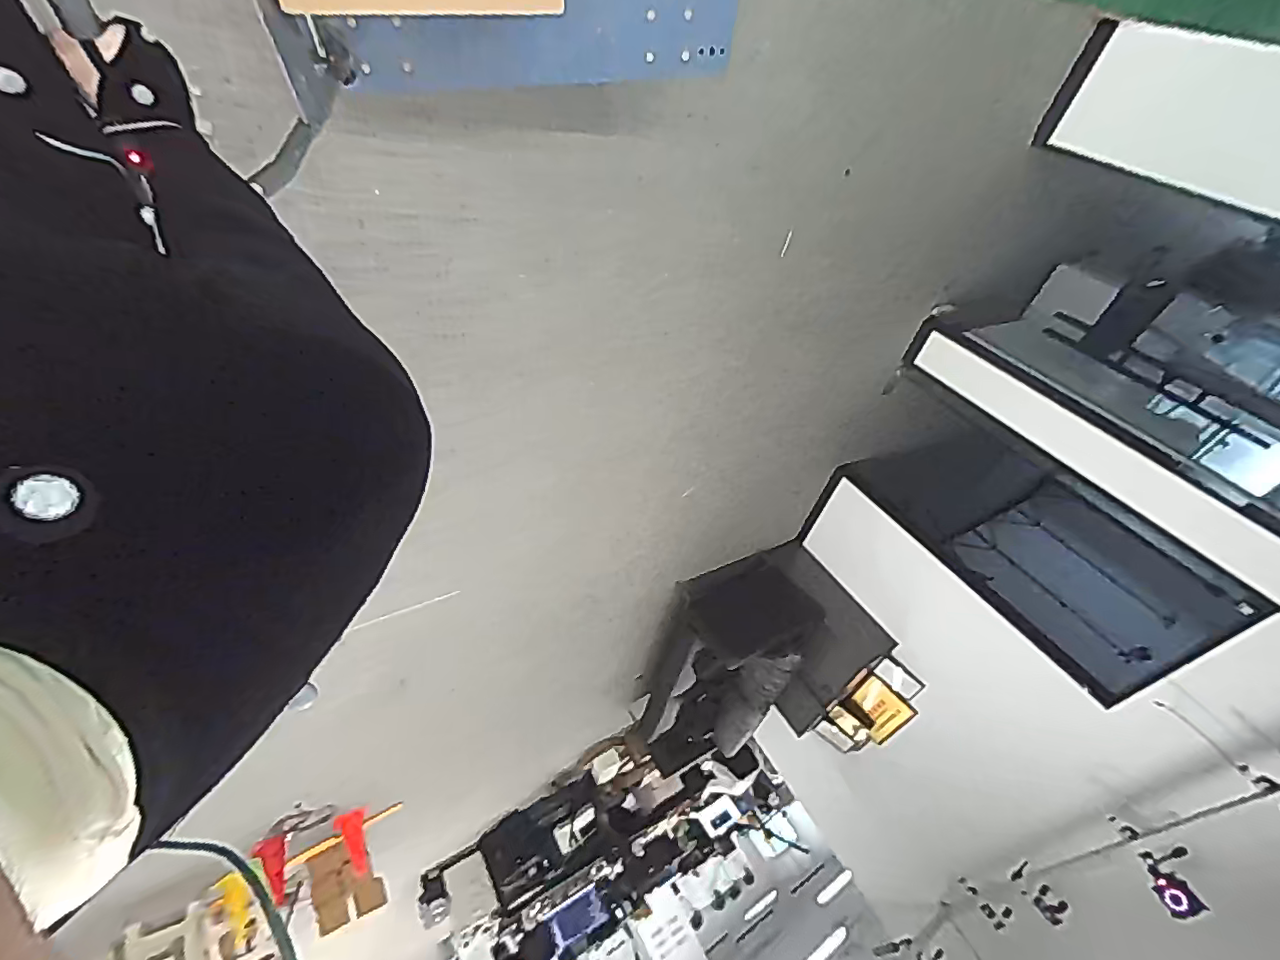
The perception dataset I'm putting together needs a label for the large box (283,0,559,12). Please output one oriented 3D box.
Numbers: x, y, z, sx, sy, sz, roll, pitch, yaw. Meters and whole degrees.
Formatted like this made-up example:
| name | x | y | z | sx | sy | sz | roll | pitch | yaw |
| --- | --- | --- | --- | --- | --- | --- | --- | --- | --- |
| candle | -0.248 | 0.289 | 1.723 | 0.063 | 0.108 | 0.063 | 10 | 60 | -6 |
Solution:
| name | x | y | z | sx | sy | sz | roll | pitch | yaw |
| --- | --- | --- | --- | --- | --- | --- | --- | --- | --- |
| large box | -0.352 | -0.913 | 0.786 | 0.408 | 0.320 | 0.320 | -11 | 141 | -12 |
